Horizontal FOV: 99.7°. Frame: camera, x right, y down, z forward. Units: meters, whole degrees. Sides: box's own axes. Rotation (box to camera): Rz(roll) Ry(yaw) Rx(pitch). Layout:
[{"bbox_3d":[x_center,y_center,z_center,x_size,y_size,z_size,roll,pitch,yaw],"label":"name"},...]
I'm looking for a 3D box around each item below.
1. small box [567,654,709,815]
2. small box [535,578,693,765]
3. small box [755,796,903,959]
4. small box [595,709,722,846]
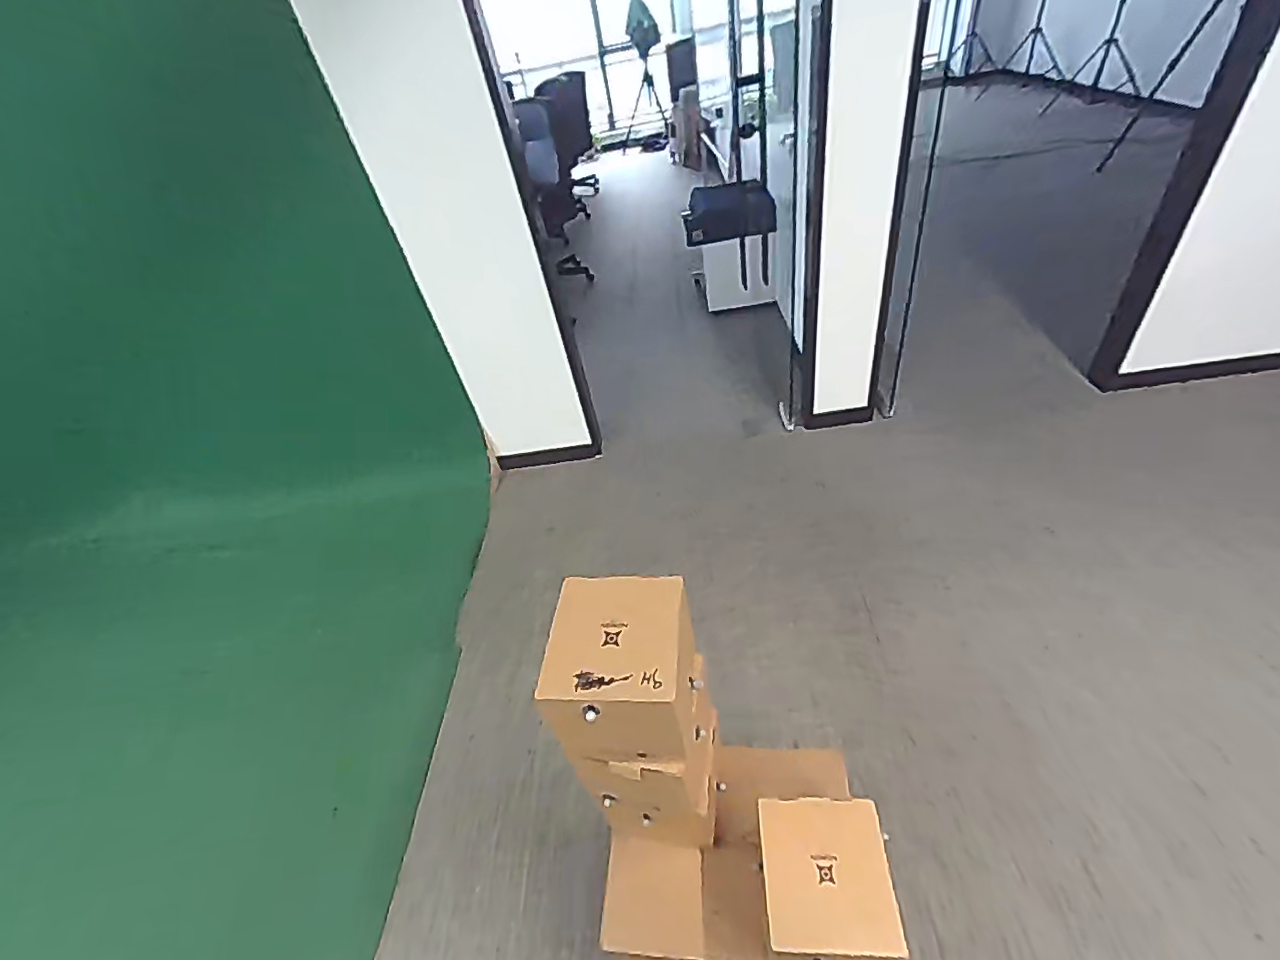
[{"bbox_3d":[0.010,0.378,0.822,0.168,0.176,0.179,2,41,16],"label":"small box"},{"bbox_3d":[-0.021,0.251,0.721,0.168,0.176,0.179,-3,41,11],"label":"small box"},{"bbox_3d":[0.260,0.580,0.780,0.168,0.176,0.179,-5,42,9],"label":"small box"},{"bbox_3d":[0.041,0.501,0.926,0.179,0.176,0.168,1,43,14],"label":"small box"}]
